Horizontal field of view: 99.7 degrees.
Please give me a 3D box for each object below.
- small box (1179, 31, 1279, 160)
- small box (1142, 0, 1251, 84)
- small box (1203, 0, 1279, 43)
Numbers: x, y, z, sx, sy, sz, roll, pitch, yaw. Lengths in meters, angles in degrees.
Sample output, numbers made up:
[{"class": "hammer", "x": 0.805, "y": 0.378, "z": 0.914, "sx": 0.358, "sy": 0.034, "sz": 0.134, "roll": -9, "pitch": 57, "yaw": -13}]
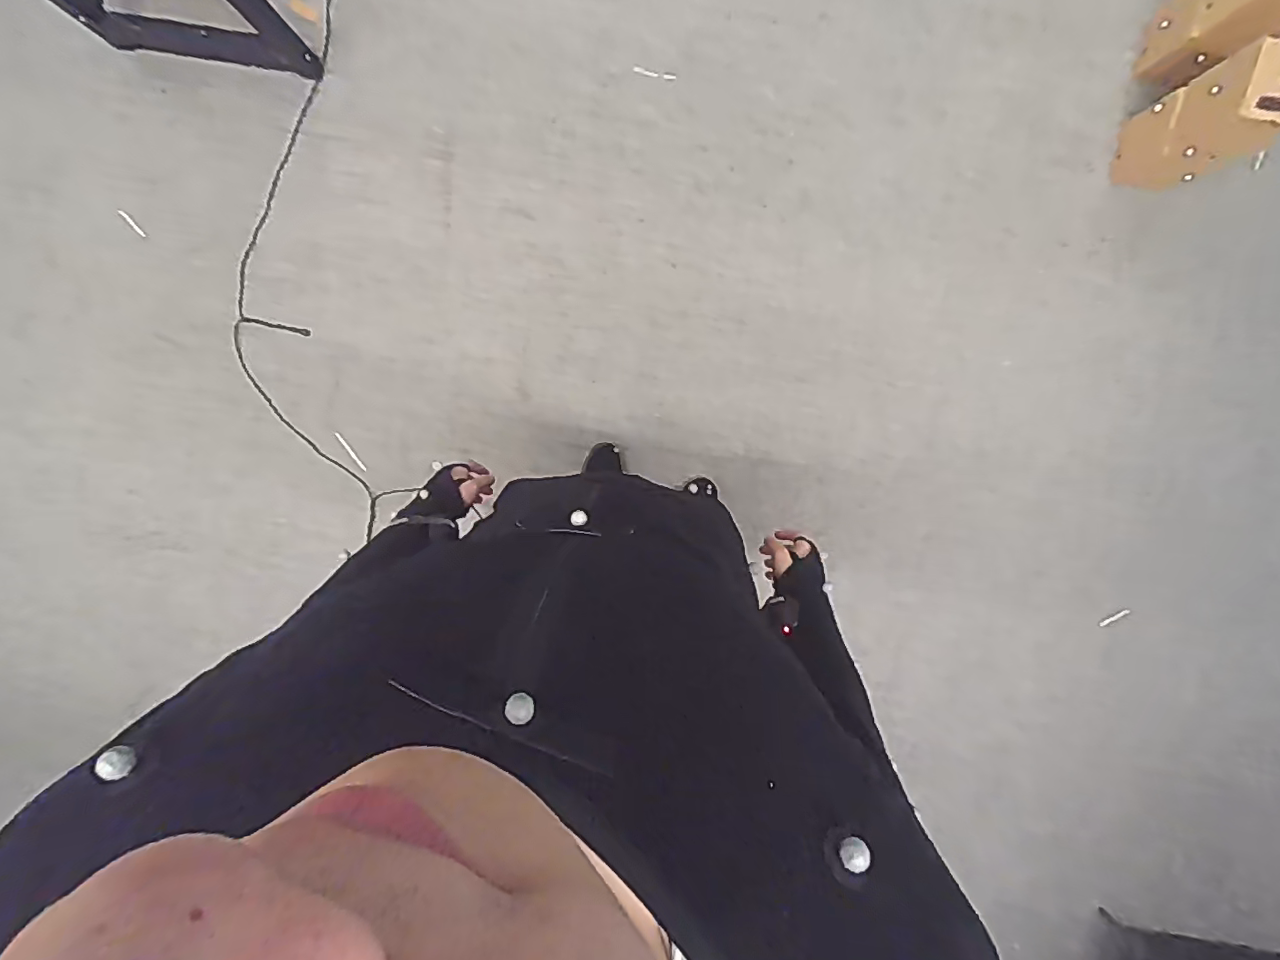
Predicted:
[{"class": "small box", "x": 1.460, "y": -0.905, "z": 1.291, "sx": 0.168, "sy": 0.176, "sz": 0.179, "roll": 13, "pitch": 95, "yaw": -2}, {"class": "small box", "x": 1.496, "y": -1.191, "z": 1.425, "sx": 0.179, "sy": 0.176, "sz": 0.168, "roll": 13, "pitch": 96, "yaw": -1}, {"class": "small box", "x": 1.495, "y": -1.172, "z": 1.265, "sx": 0.179, "sy": 0.176, "sz": 0.168, "roll": 10, "pitch": 96, "yaw": -1}]
